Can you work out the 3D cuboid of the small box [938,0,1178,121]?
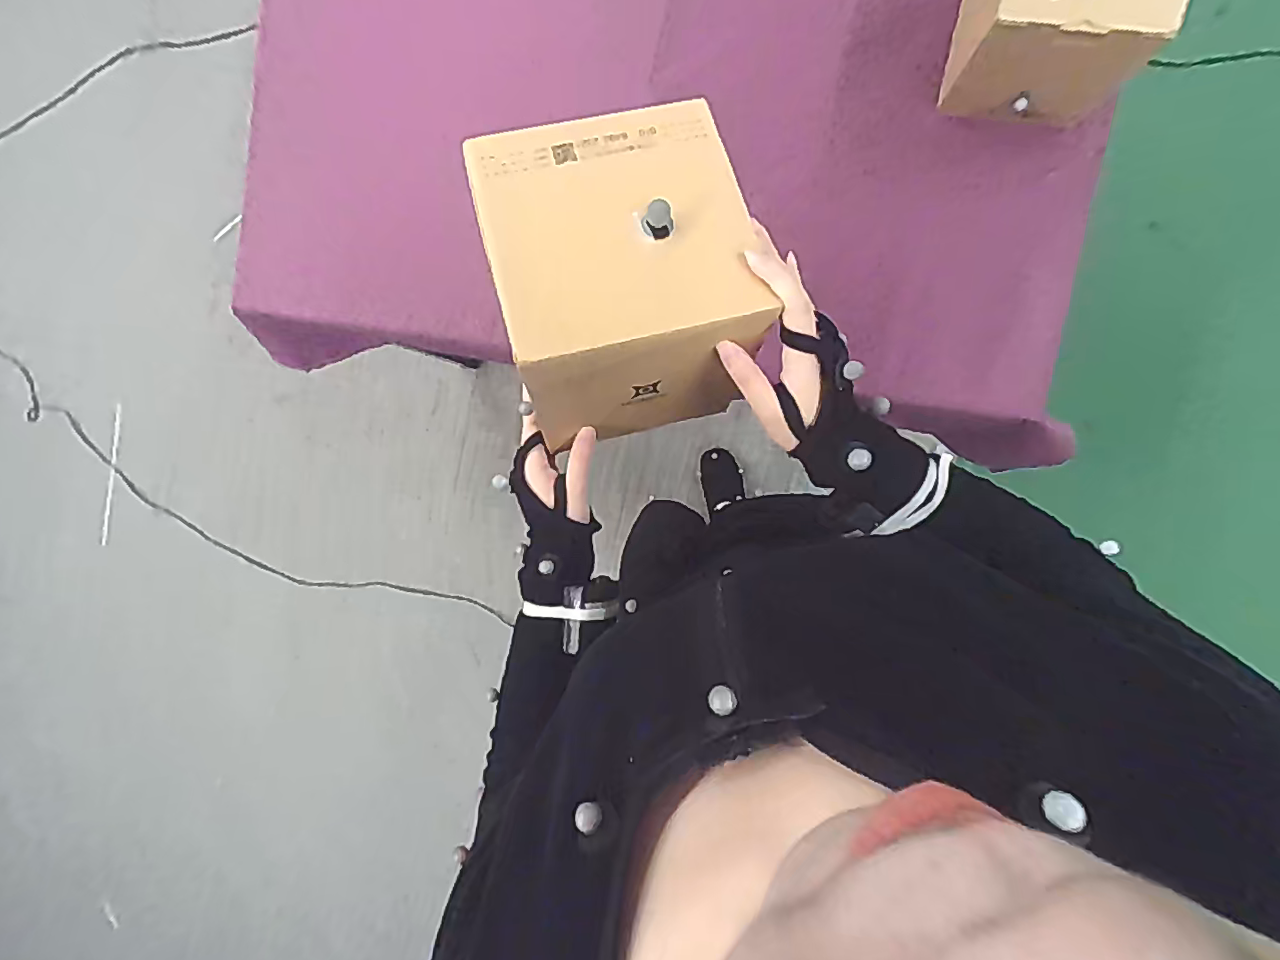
[{"bbox_3d":[0.457,-0.540,0.594,0.168,0.176,0.179,13,99,9],"label":"small box"}]

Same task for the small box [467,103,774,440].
[{"bbox_3d":[-0.021,-0.152,0.416,0.168,0.179,0.176,-14,78,-6],"label":"small box"}]
